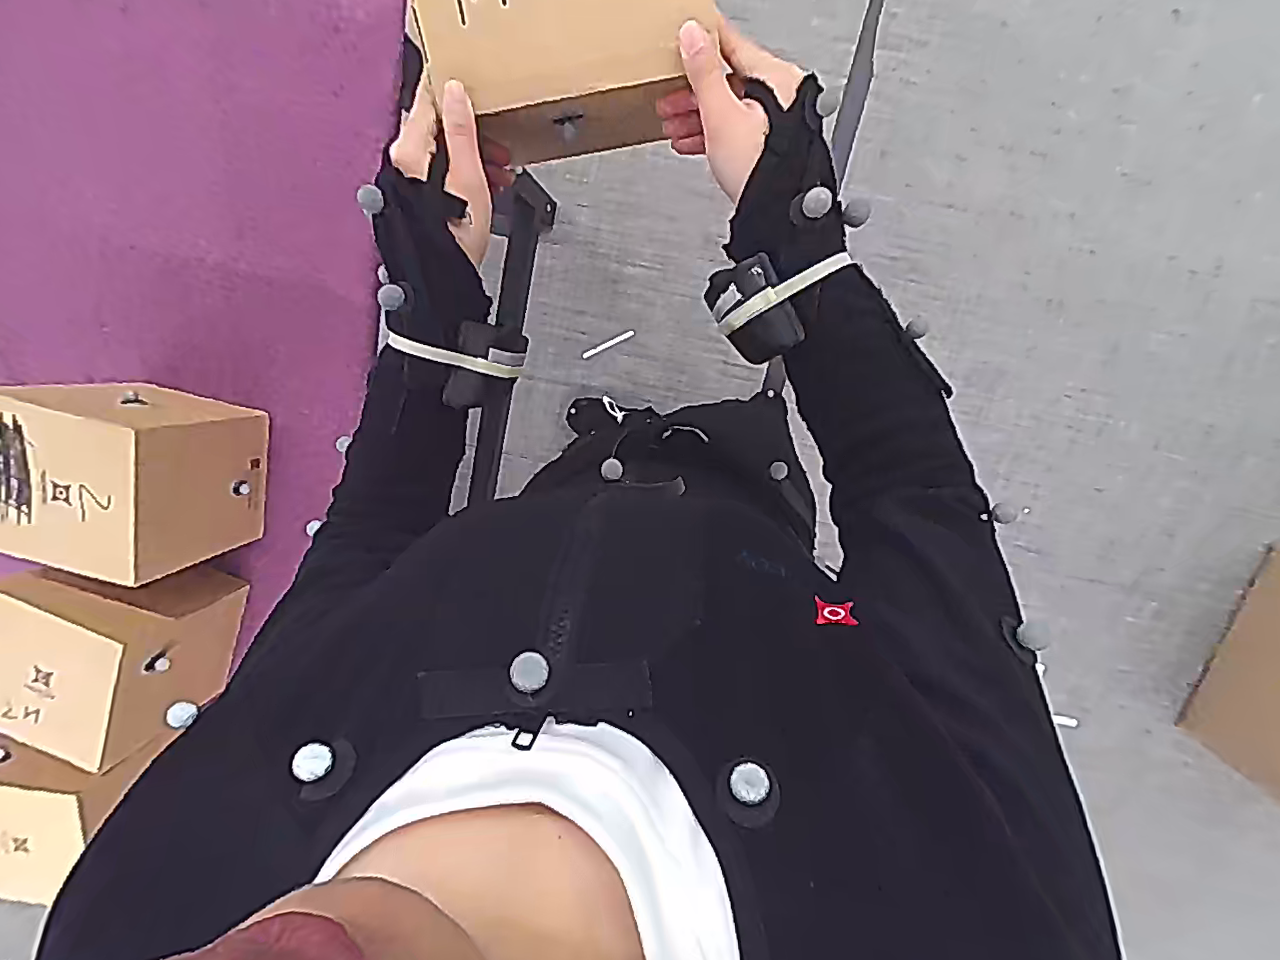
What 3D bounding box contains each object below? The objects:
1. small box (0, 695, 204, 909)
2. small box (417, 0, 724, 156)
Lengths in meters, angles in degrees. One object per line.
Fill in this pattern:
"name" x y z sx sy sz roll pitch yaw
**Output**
"small box" -0.713 0.405 0.705 0.179 0.176 0.168 5 102 4
"small box" -0.045 -0.340 0.370 0.179 0.176 0.168 -8 111 4
